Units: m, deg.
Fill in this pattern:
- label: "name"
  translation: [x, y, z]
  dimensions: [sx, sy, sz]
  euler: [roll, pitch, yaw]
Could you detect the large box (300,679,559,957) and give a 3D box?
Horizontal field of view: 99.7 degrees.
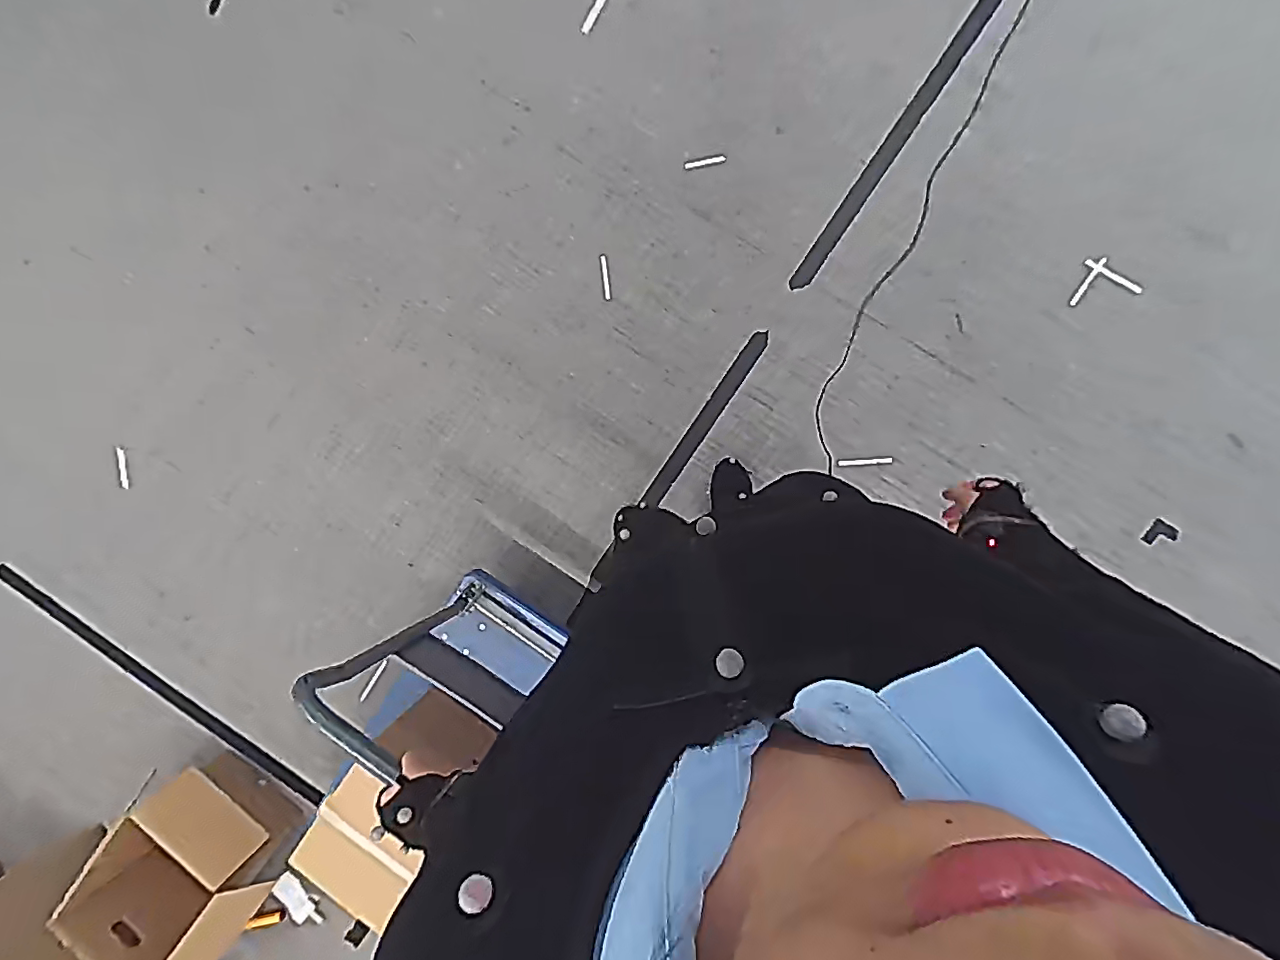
- label: "large box"
  translation: [-0.461, 0.751, 1.265]
  dimensions: [0.408, 0.320, 0.320]
  euler: [35, 96, 2]
